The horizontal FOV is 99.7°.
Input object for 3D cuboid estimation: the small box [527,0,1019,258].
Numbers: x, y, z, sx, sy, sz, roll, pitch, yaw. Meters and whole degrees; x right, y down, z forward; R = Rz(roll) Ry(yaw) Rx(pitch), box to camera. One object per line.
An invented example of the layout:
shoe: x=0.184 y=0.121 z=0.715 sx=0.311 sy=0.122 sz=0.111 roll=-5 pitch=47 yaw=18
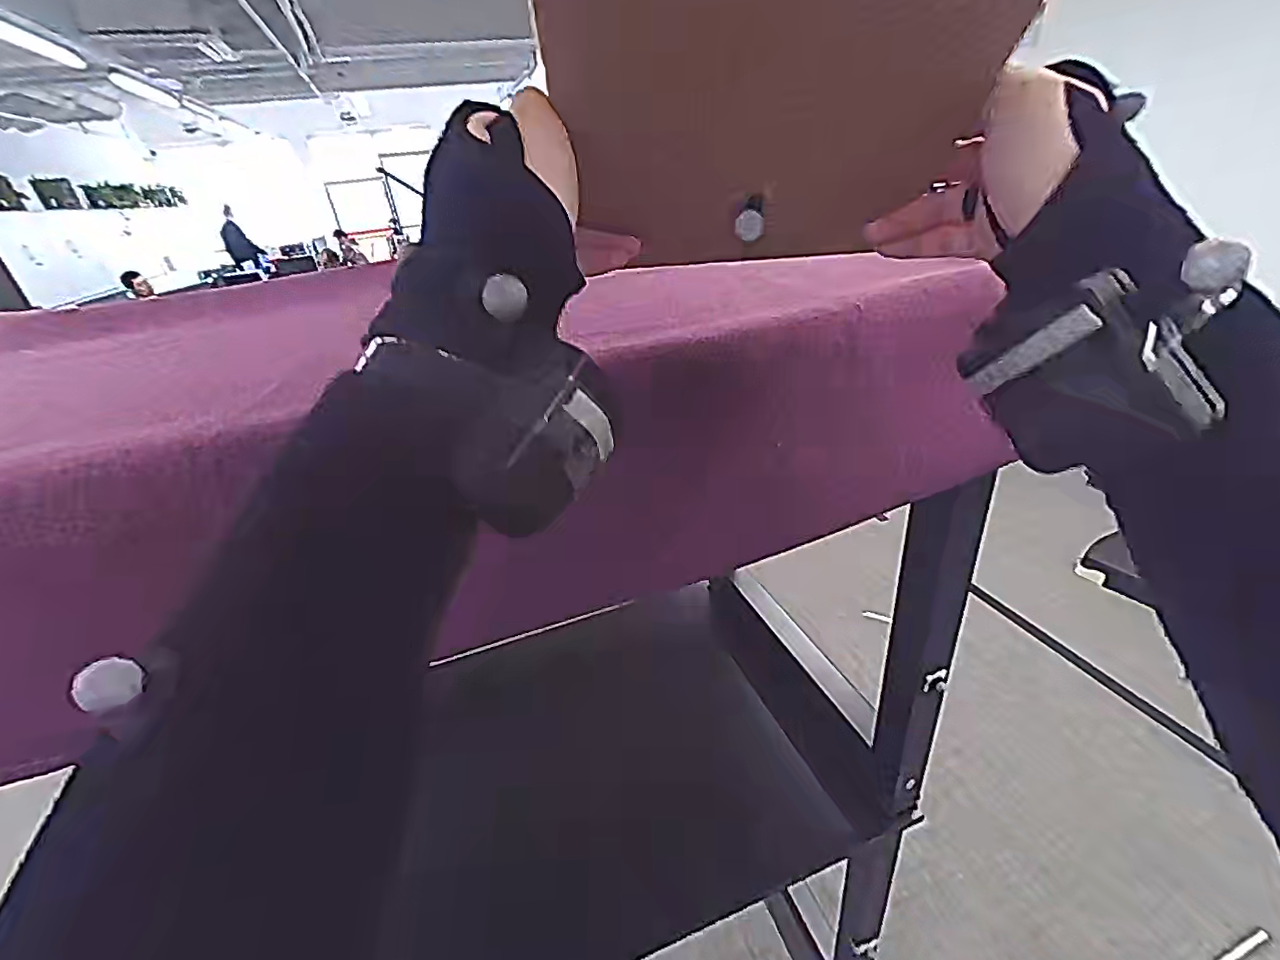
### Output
small box: x=0.043 y=-0.226 z=0.247 sx=0.179 sy=0.176 sz=0.168 roll=-4 pitch=73 yaw=-1
